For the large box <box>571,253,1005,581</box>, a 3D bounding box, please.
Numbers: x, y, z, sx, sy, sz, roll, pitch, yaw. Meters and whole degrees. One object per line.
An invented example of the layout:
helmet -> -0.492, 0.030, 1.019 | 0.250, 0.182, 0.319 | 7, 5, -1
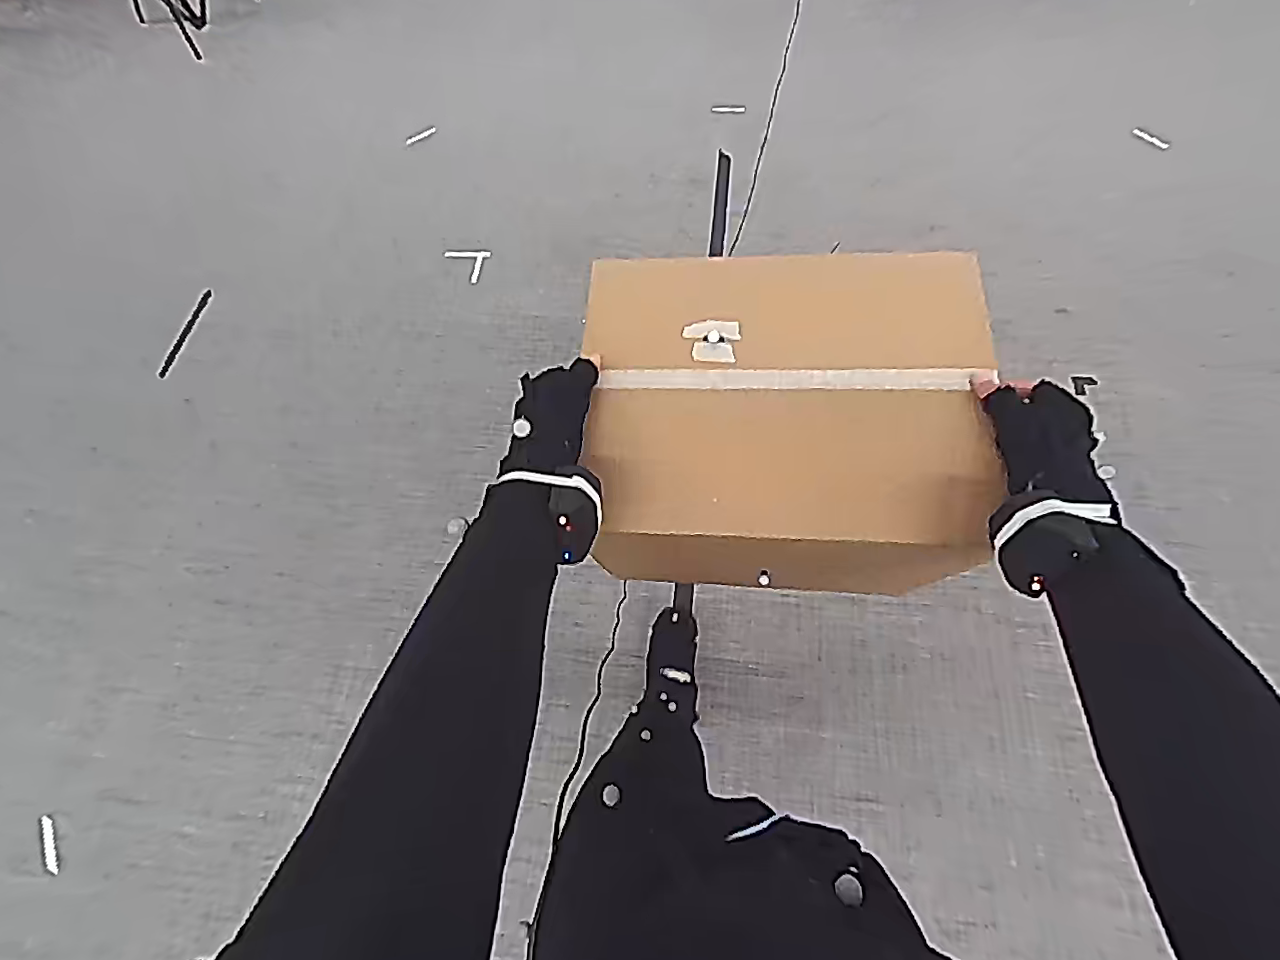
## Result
large box -> 0.158, -0.050, 0.690 | 0.408, 0.320, 0.320 | 2, 70, 9
